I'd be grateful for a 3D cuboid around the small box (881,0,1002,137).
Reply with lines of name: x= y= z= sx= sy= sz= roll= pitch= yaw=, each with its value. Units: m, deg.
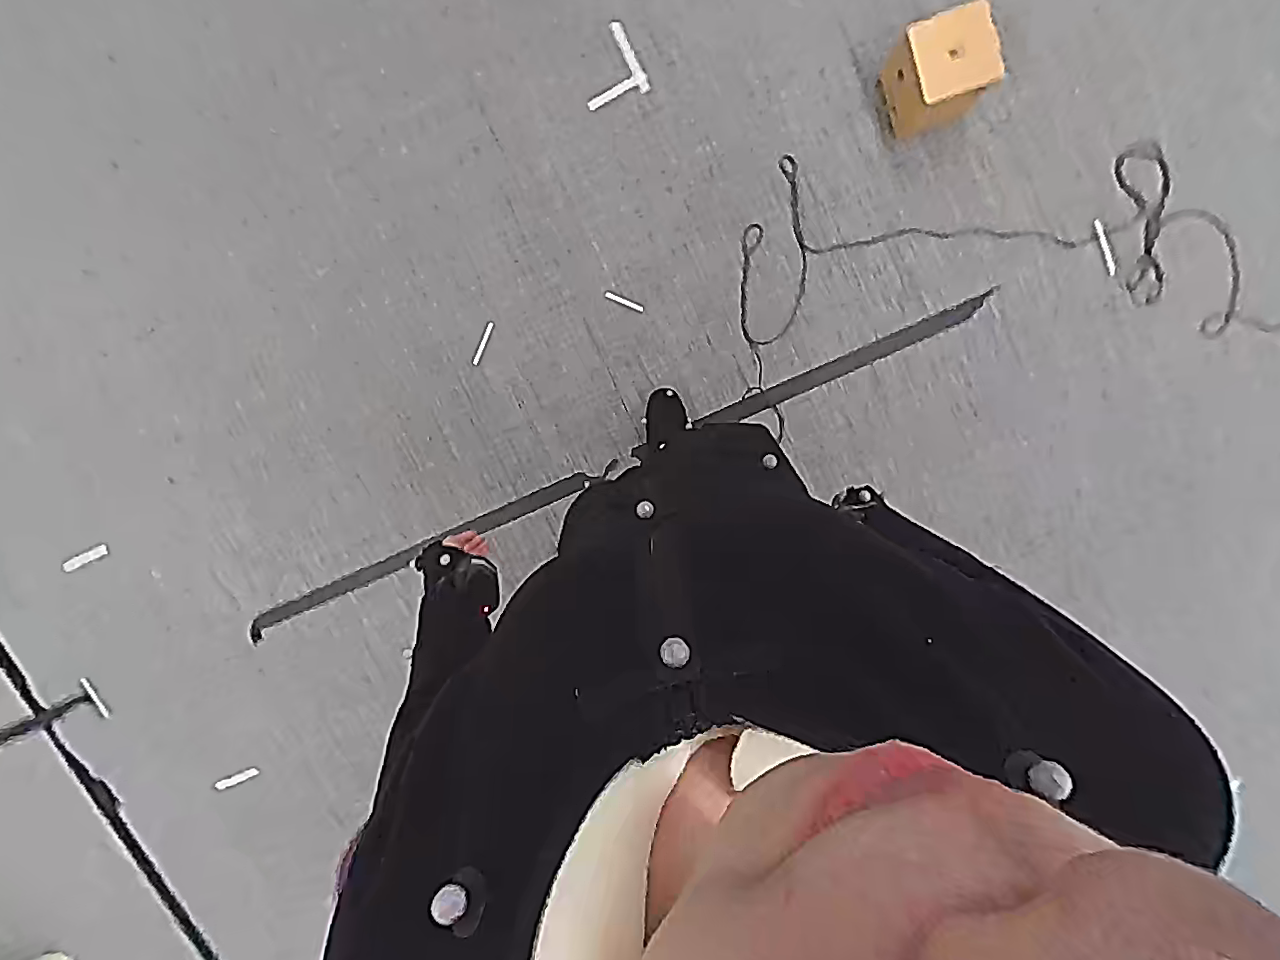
small box: x=0.678 y=-0.933 z=1.244 sx=0.179 sy=0.176 sz=0.168 roll=-19 pitch=97 yaw=5
